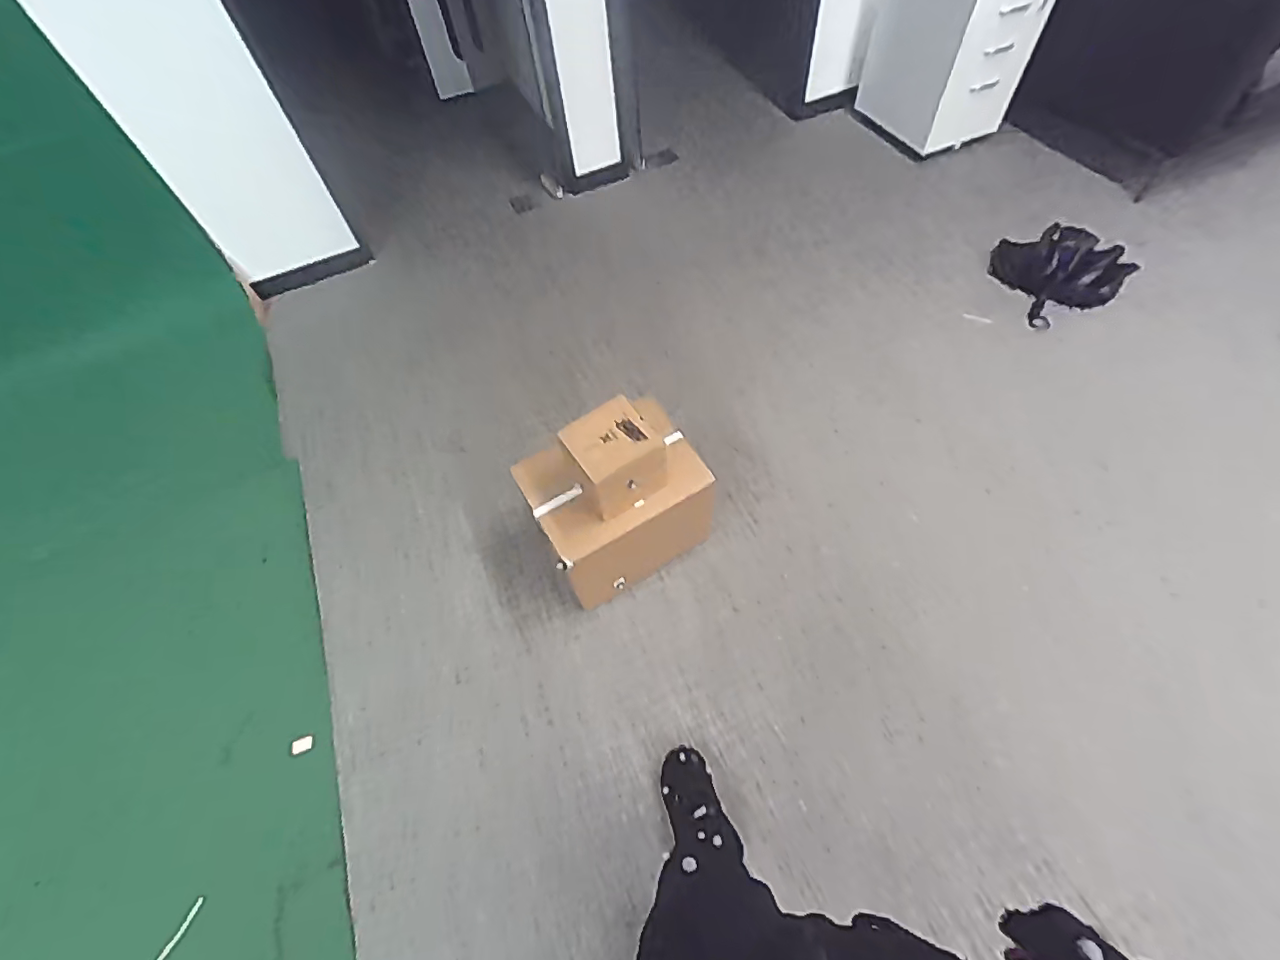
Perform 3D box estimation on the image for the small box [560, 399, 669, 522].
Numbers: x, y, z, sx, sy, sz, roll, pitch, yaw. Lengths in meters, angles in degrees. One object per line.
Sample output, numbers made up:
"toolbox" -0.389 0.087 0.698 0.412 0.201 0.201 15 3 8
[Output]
"small box" -0.053 -0.040 1.199 0.179 0.176 0.168 -33 61 -16
